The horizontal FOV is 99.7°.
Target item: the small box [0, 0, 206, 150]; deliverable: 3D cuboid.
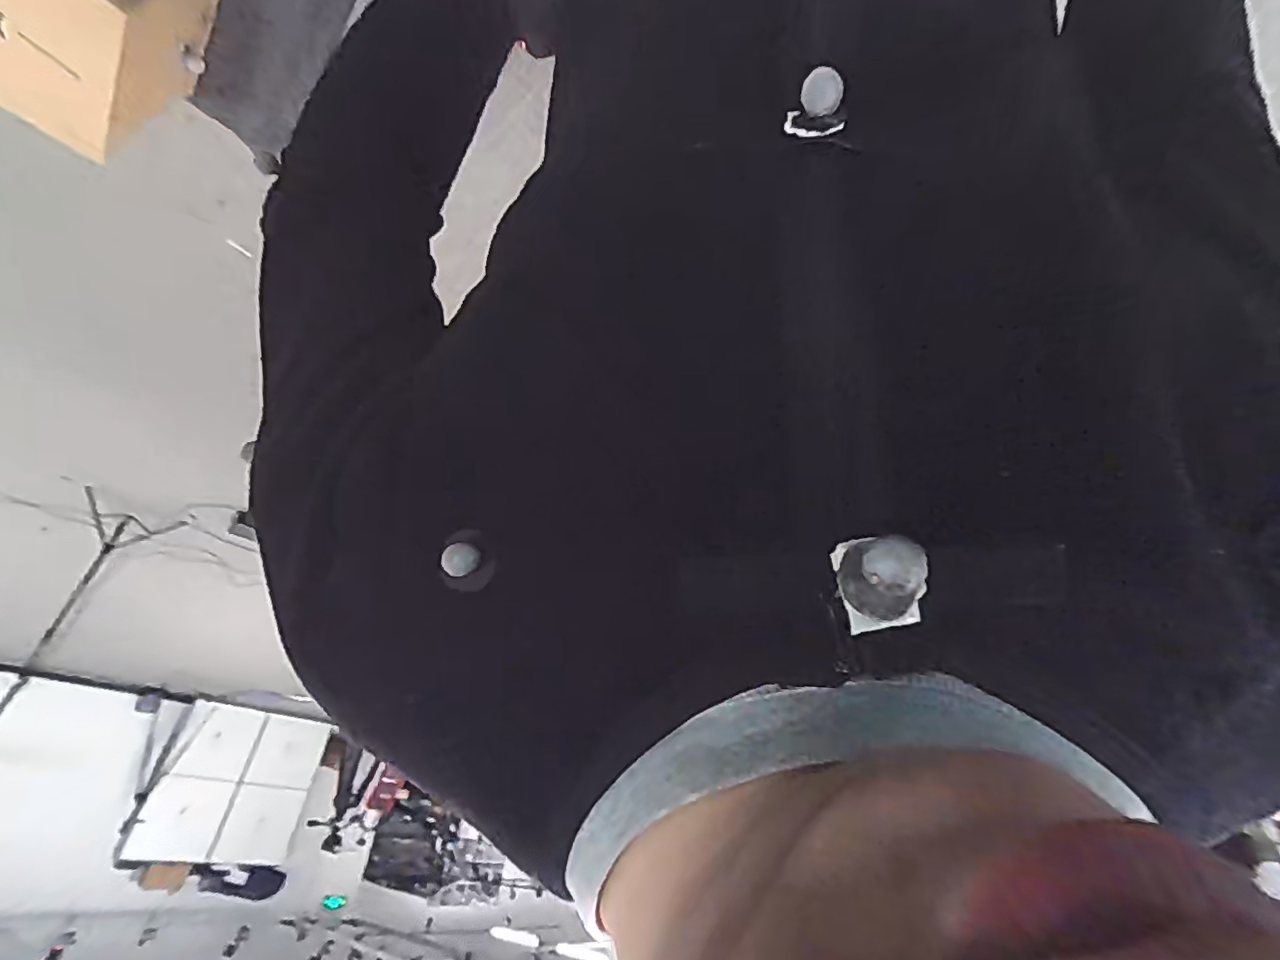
[{"bbox_3d":[-0.499,-0.428,0.438,0.168,0.176,0.179,-27,135,37],"label":"small box"}]
